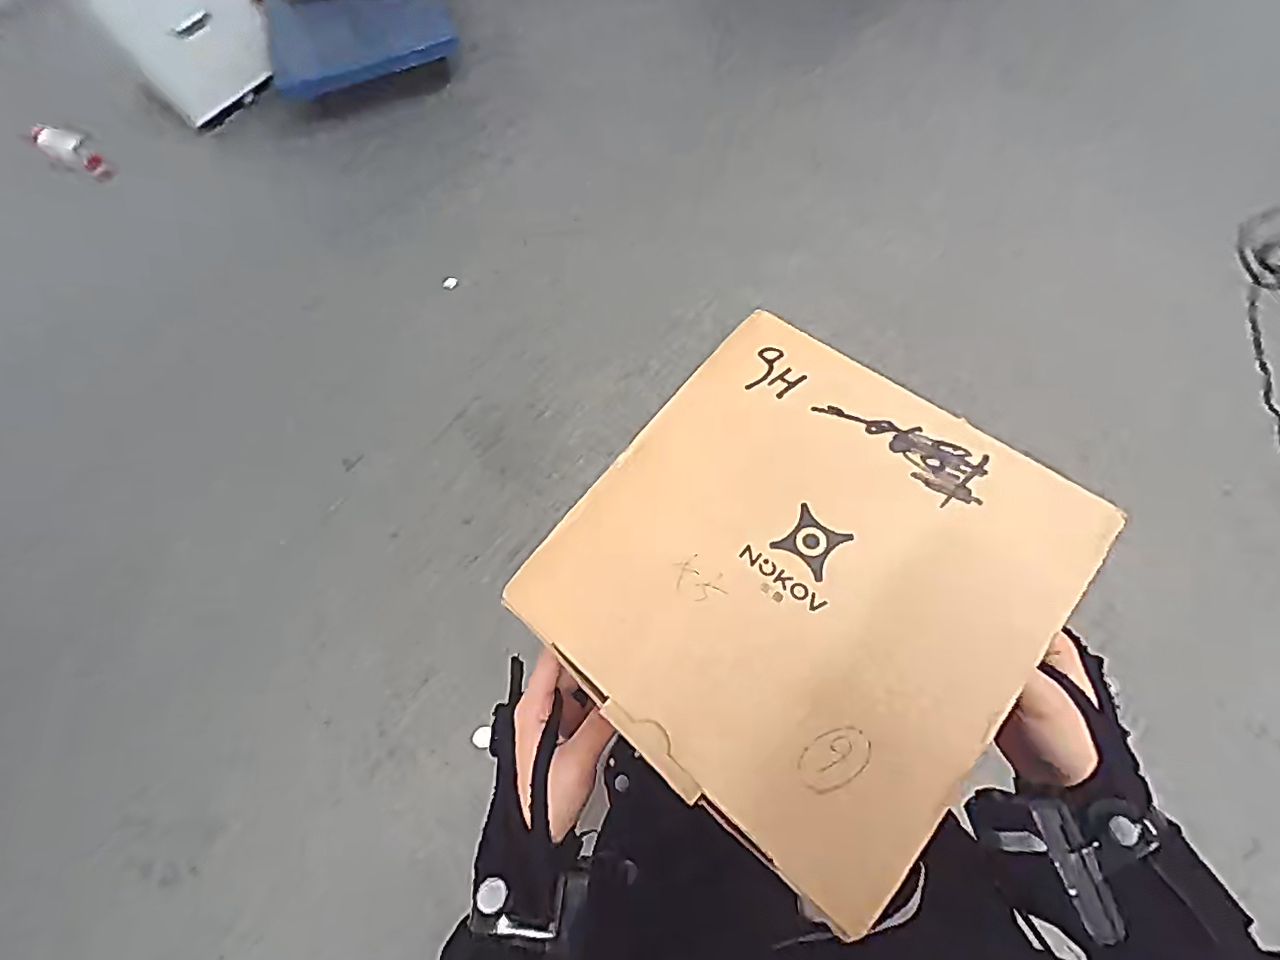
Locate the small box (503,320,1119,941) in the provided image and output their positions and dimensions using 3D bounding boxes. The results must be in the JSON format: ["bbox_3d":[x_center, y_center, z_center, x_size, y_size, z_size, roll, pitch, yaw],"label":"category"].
[{"bbox_3d":[0.070,0.063,0.280,0.168,0.176,0.179,39,79,21],"label":"small box"}]
